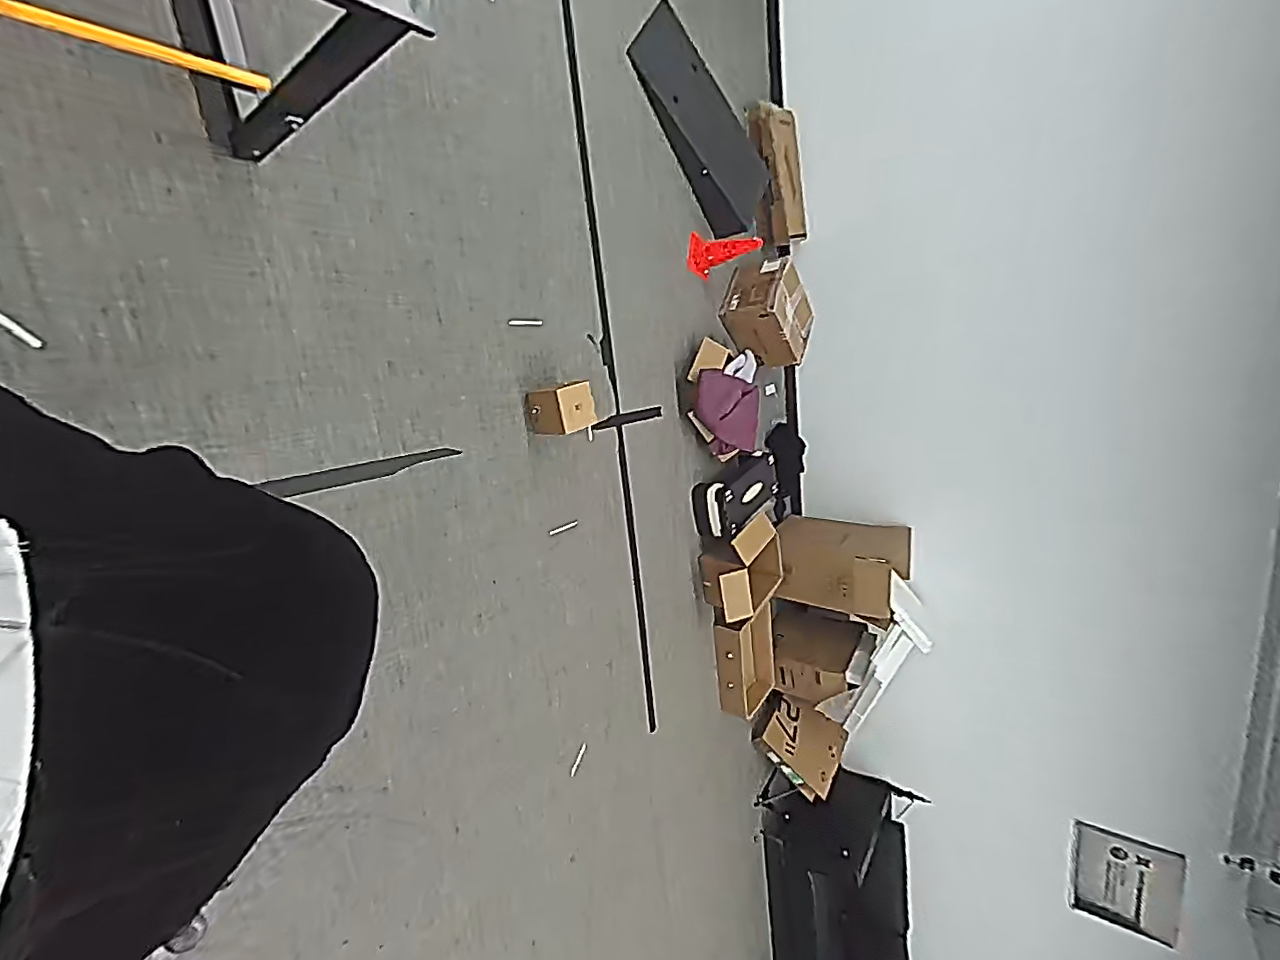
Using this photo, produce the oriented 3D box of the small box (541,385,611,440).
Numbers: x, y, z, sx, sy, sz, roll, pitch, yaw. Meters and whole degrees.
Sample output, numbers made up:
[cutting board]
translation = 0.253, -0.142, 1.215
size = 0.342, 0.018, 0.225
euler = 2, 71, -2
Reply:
[small box]
translation = -0.236, -0.251, 1.986
size = 0.179, 0.176, 0.168
euler = -30, 116, -47
